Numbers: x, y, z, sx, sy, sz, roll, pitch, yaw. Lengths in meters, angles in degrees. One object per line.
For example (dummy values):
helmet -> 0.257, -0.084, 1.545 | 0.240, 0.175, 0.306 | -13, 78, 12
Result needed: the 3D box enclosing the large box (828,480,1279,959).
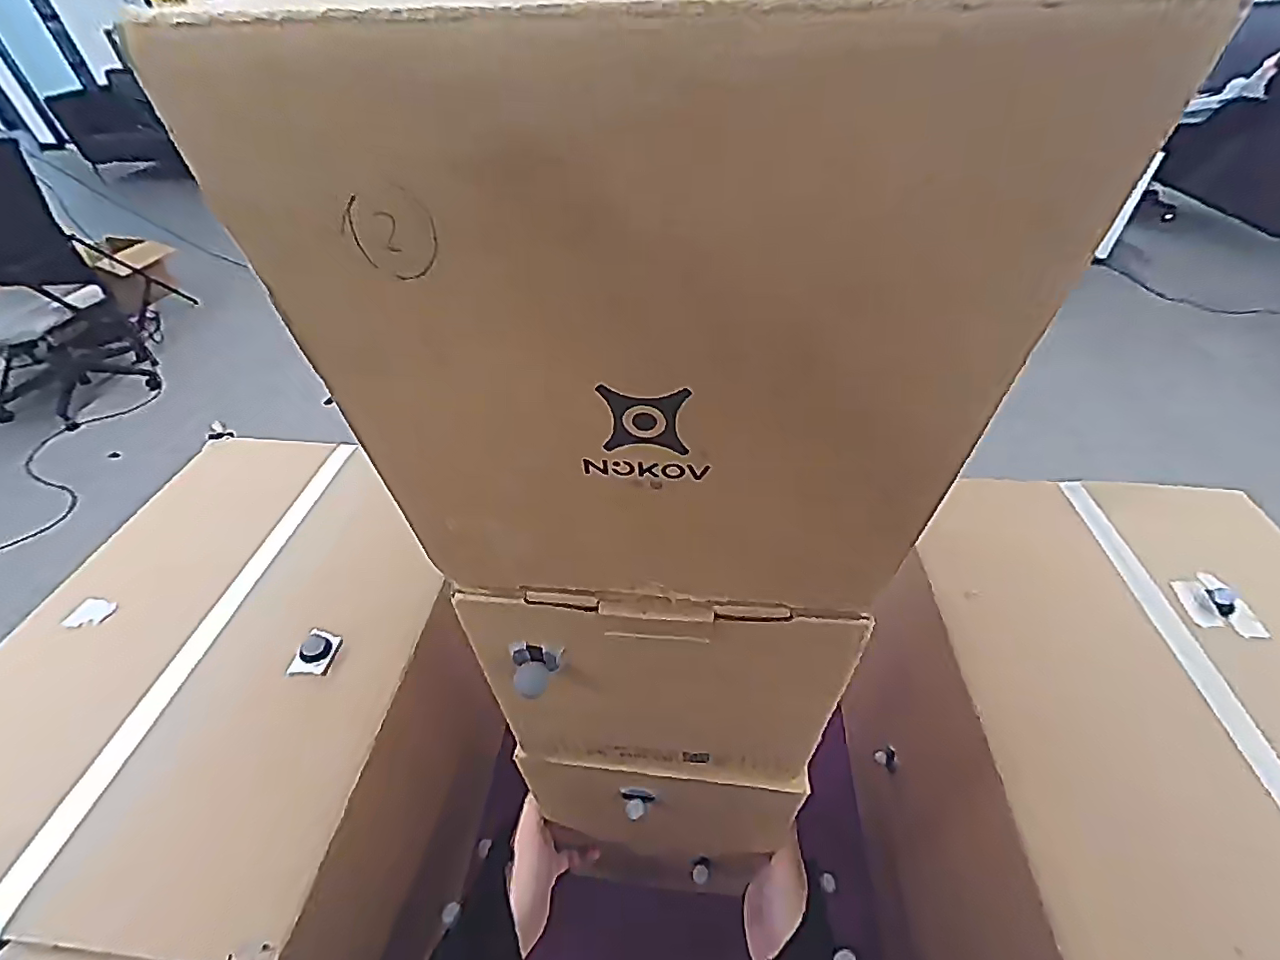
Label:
large box -> 0.379, 0.250, 0.470 | 0.320, 0.320, 0.408 | 3, 42, 4
